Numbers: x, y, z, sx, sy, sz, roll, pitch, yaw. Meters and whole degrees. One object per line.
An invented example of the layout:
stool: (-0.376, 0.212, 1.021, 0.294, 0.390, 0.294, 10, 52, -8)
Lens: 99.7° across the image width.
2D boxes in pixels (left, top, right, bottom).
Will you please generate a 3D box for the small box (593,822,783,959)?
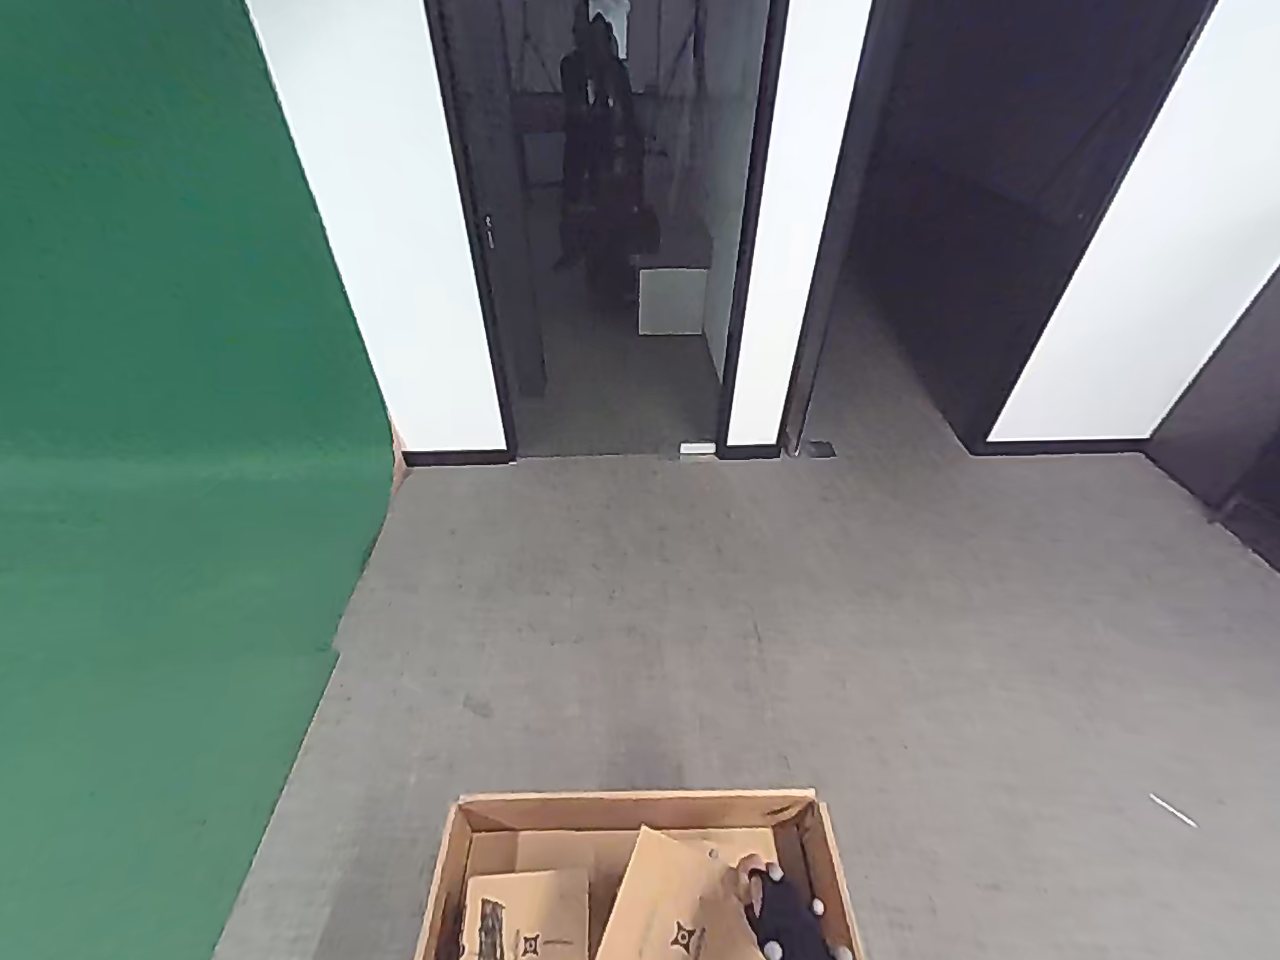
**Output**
small box: (0.058, 0.550, 0.654, 0.179, 0.176, 0.168, 16, 52, 18)
